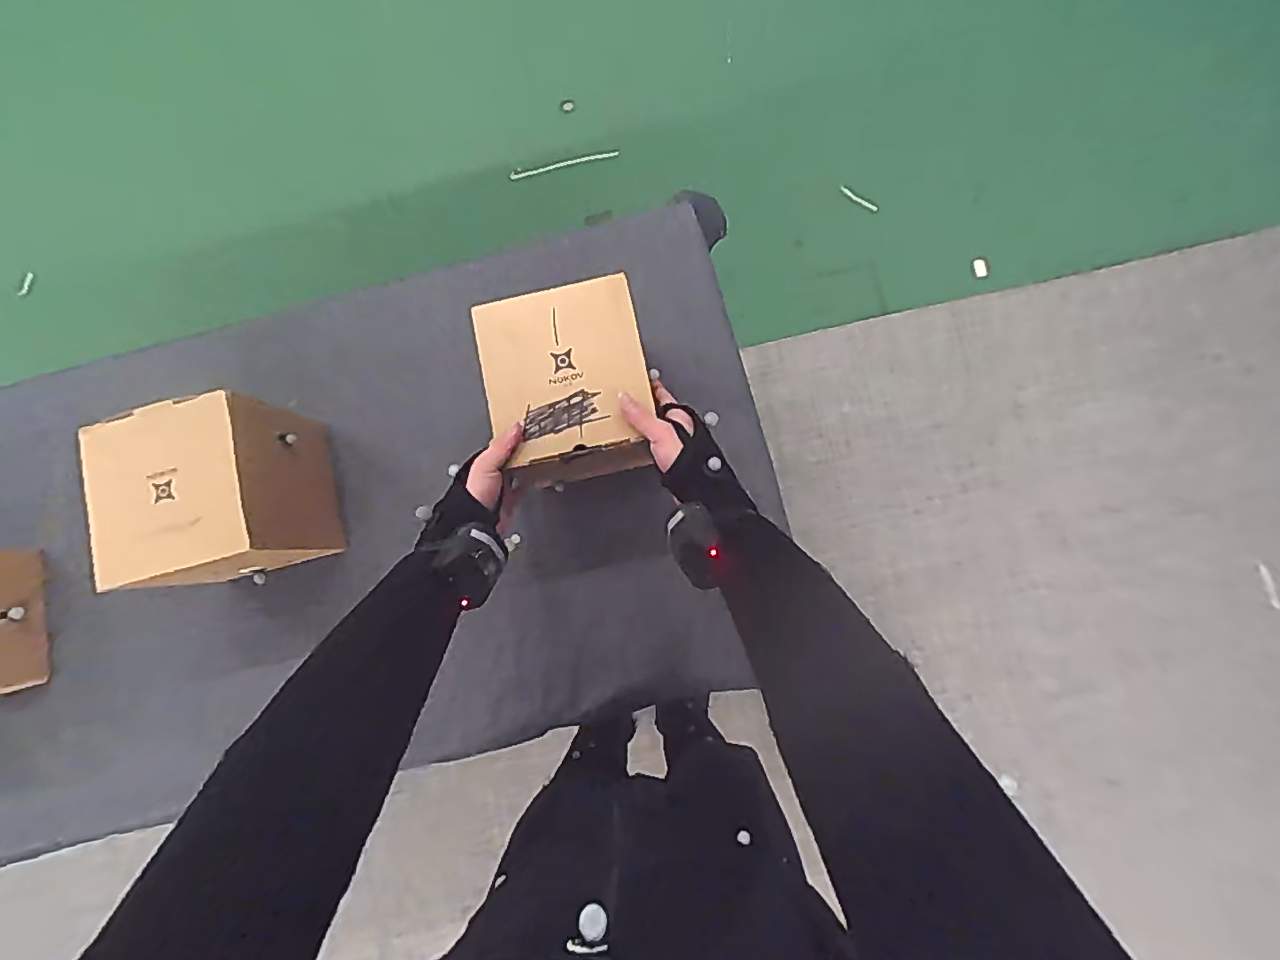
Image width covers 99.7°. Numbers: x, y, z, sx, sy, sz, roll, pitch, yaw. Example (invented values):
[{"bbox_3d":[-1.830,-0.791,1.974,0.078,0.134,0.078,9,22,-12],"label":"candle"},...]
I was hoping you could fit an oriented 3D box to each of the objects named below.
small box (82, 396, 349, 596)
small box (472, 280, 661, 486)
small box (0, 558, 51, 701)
[{"bbox_3d":[-0.475,0.024,0.629,0.168,0.176,0.179,-16,83,2],"label":"small box"},{"bbox_3d":[-0.072,-0.095,0.621,0.168,0.176,0.179,-13,82,1],"label":"small box"},{"bbox_3d":[-0.849,0.188,0.622,0.168,0.176,0.179,-15,81,1],"label":"small box"}]
